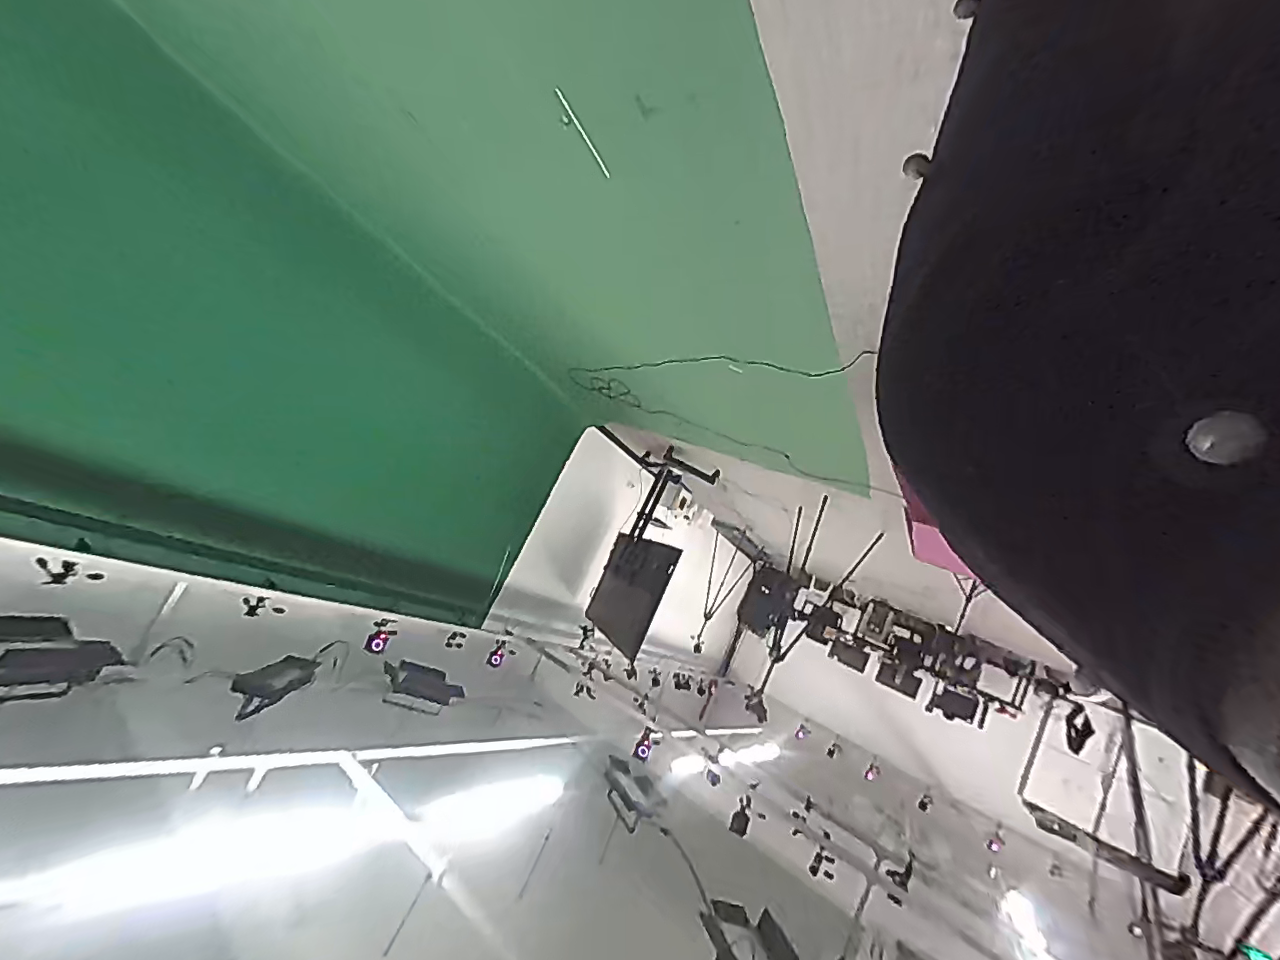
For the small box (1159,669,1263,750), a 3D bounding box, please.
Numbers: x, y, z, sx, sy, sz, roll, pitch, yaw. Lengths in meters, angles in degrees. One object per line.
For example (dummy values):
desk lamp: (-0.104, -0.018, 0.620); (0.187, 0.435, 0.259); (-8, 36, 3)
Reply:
small box: (1.705, 0.681, 1.616); (0.168, 0.176, 0.179); (20, 171, 37)
